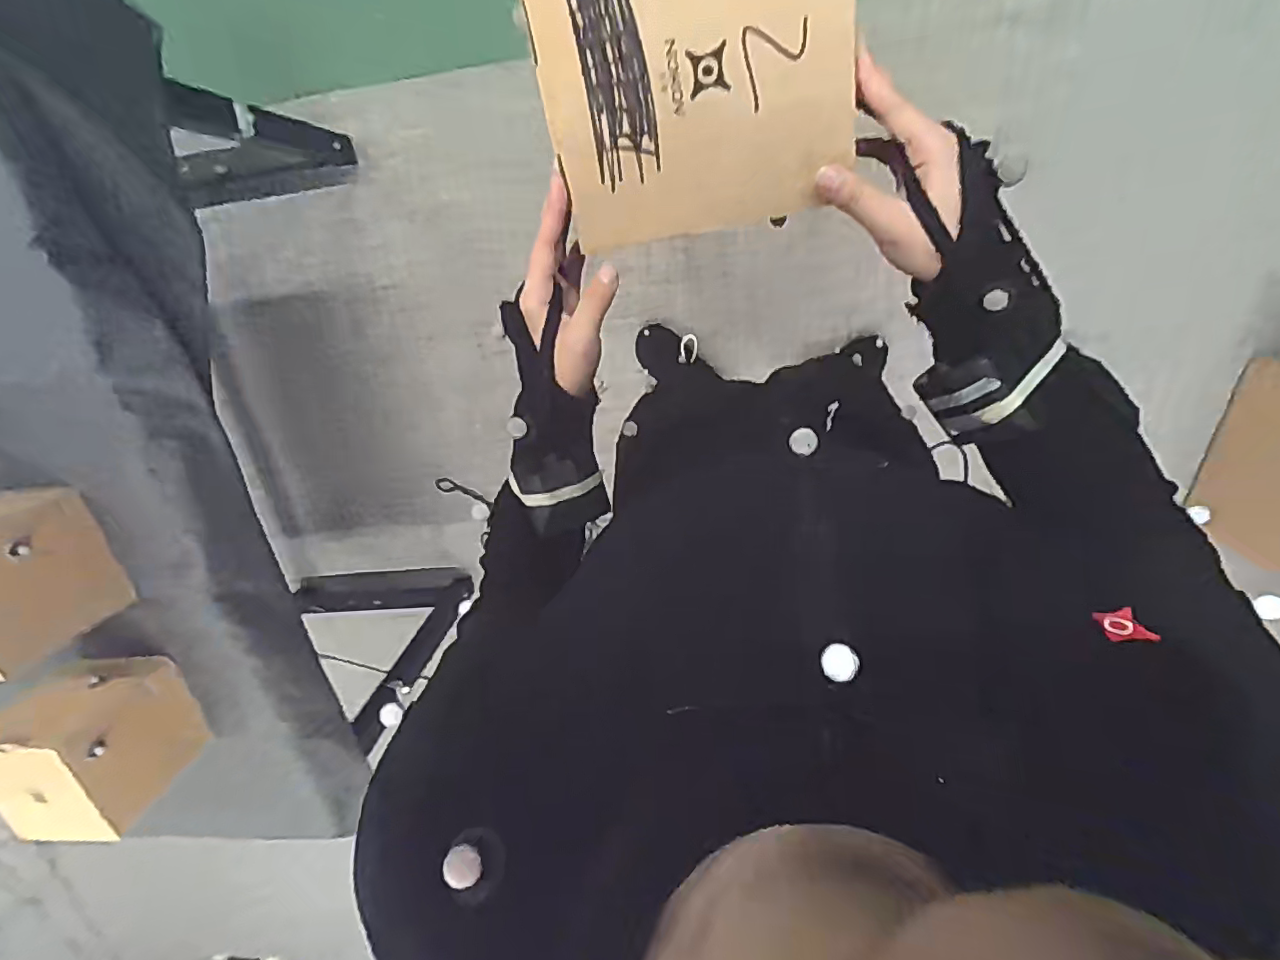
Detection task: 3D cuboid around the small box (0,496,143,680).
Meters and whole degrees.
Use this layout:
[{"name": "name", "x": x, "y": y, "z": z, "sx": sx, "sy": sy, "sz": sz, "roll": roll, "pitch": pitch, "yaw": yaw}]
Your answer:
[{"name": "small box", "x": -0.809, "y": 0.128, "z": 0.686, "sx": 0.168, "sy": 0.176, "sz": 0.179, "roll": -5, "pitch": 113, "yaw": 10}]

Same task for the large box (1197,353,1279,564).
[{"name": "large box", "x": 1.464, "y": -0.029, "z": 1.072, "sx": 0.320, "sy": 0.320, "sz": 0.408, "roll": 2, "pitch": 114, "yaw": 6}]

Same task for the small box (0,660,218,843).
[{"name": "small box", "x": -0.776, "y": 0.388, "z": 0.788, "sx": 0.168, "sy": 0.176, "sz": 0.179, "roll": -6, "pitch": 111, "yaw": 9}]
